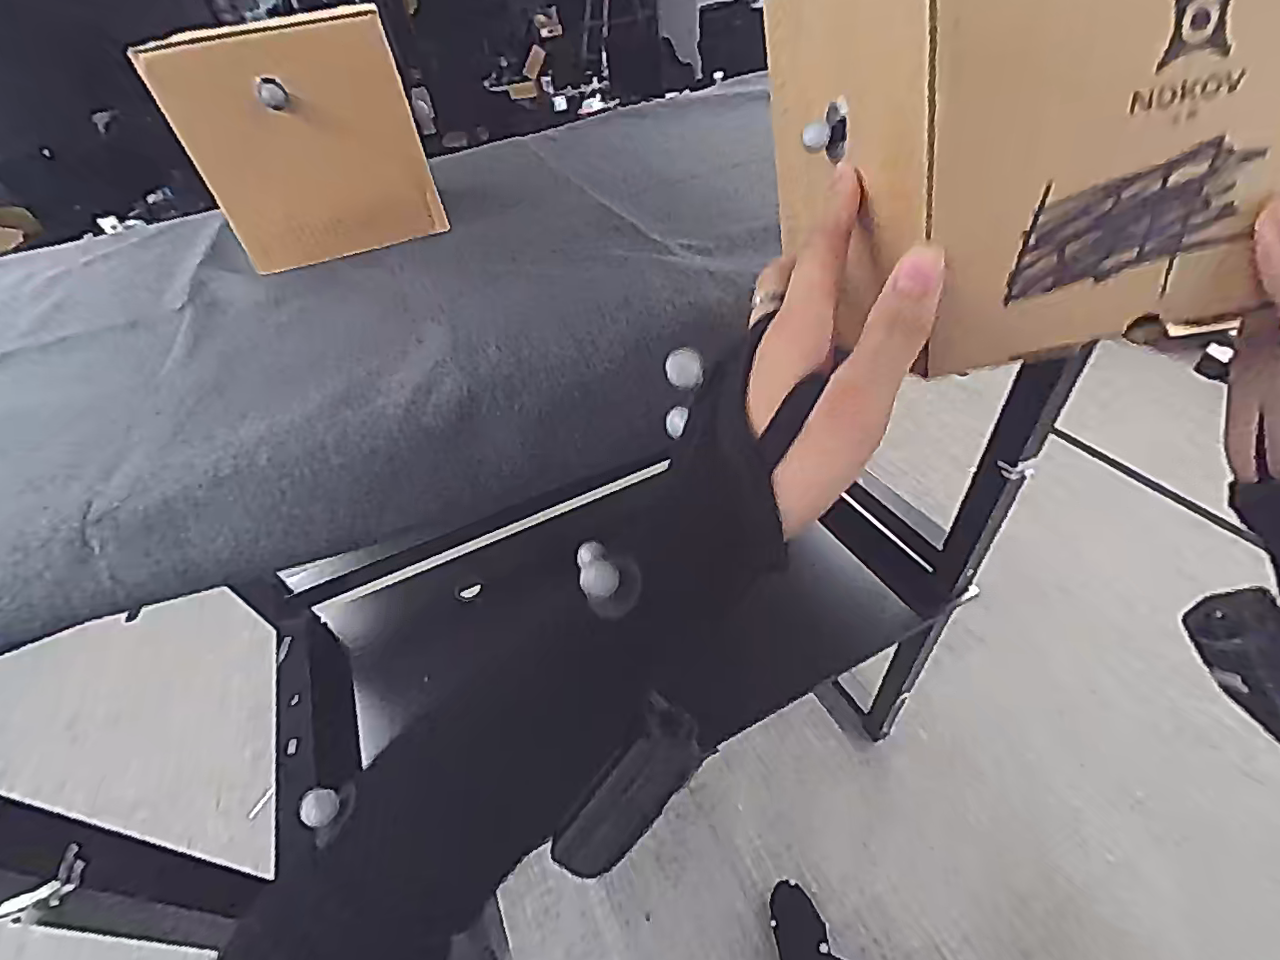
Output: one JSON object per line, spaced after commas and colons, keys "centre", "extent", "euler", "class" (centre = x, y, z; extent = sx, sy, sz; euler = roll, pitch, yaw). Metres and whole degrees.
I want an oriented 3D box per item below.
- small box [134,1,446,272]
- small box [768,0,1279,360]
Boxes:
{"centre": [-0.294, -0.320, 0.505], "extent": [0.179, 0.176, 0.168], "euler": [-19, 45, -10], "class": "small box"}
{"centre": [0.164, -0.167, 0.243], "extent": [0.168, 0.179, 0.176], "euler": [-11, 21, 1], "class": "small box"}
